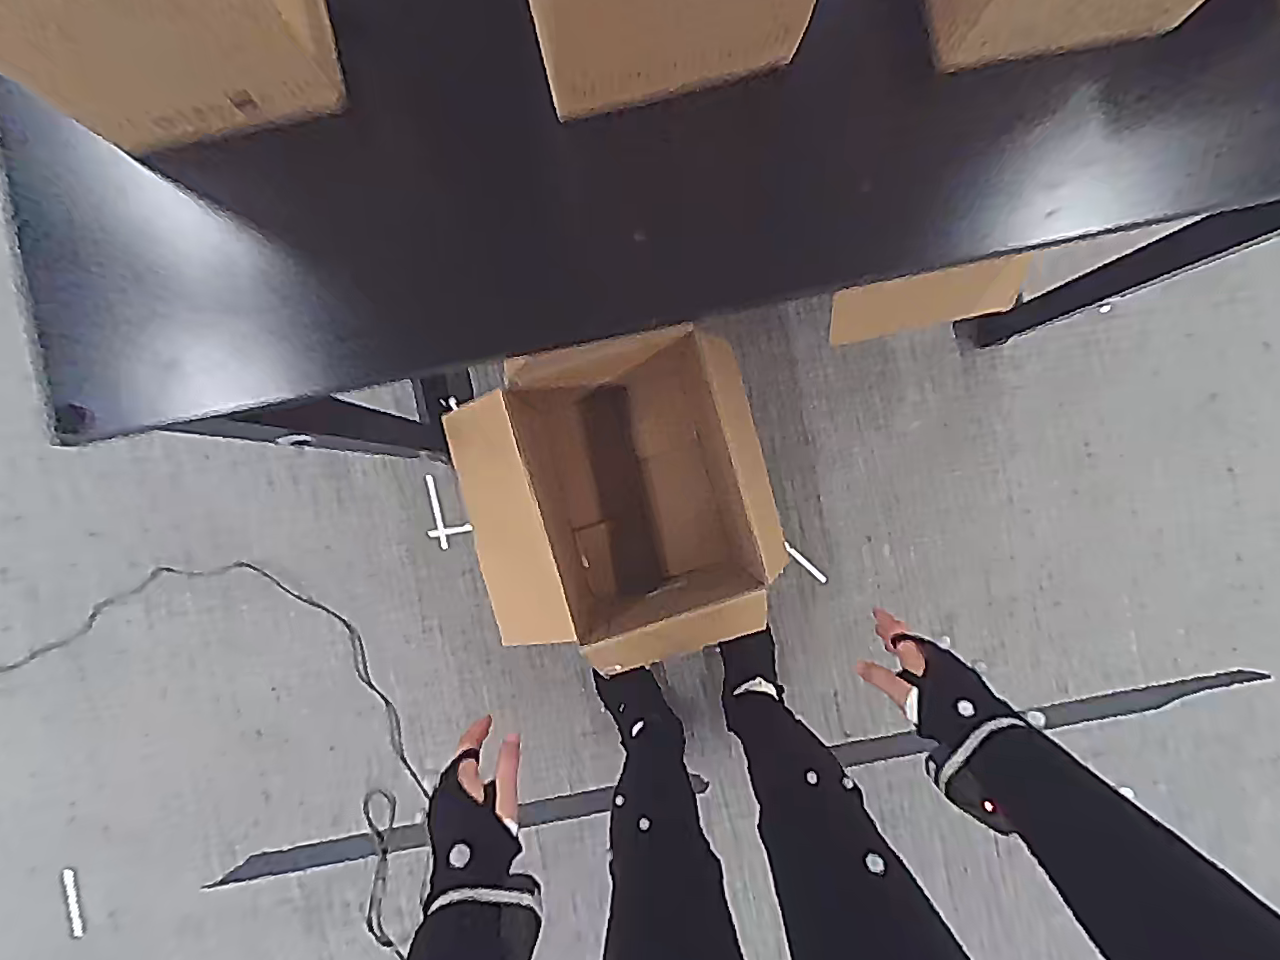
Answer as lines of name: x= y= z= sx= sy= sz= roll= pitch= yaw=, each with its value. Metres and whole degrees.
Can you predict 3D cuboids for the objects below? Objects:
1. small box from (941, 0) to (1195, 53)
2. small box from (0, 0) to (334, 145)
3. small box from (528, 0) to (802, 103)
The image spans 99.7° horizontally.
small box: x=0.285 y=-0.385 z=0.301 sx=0.179 sy=0.176 sz=0.168 roll=-9 pitch=89 yaw=-1
small box: x=-0.303 y=-0.330 z=0.295 sx=0.168 sy=0.176 sz=0.179 roll=-13 pitch=89 yaw=-1
small box: x=0.007 y=-0.354 z=0.301 sx=0.179 sy=0.176 sz=0.168 roll=-14 pitch=90 yaw=-2
